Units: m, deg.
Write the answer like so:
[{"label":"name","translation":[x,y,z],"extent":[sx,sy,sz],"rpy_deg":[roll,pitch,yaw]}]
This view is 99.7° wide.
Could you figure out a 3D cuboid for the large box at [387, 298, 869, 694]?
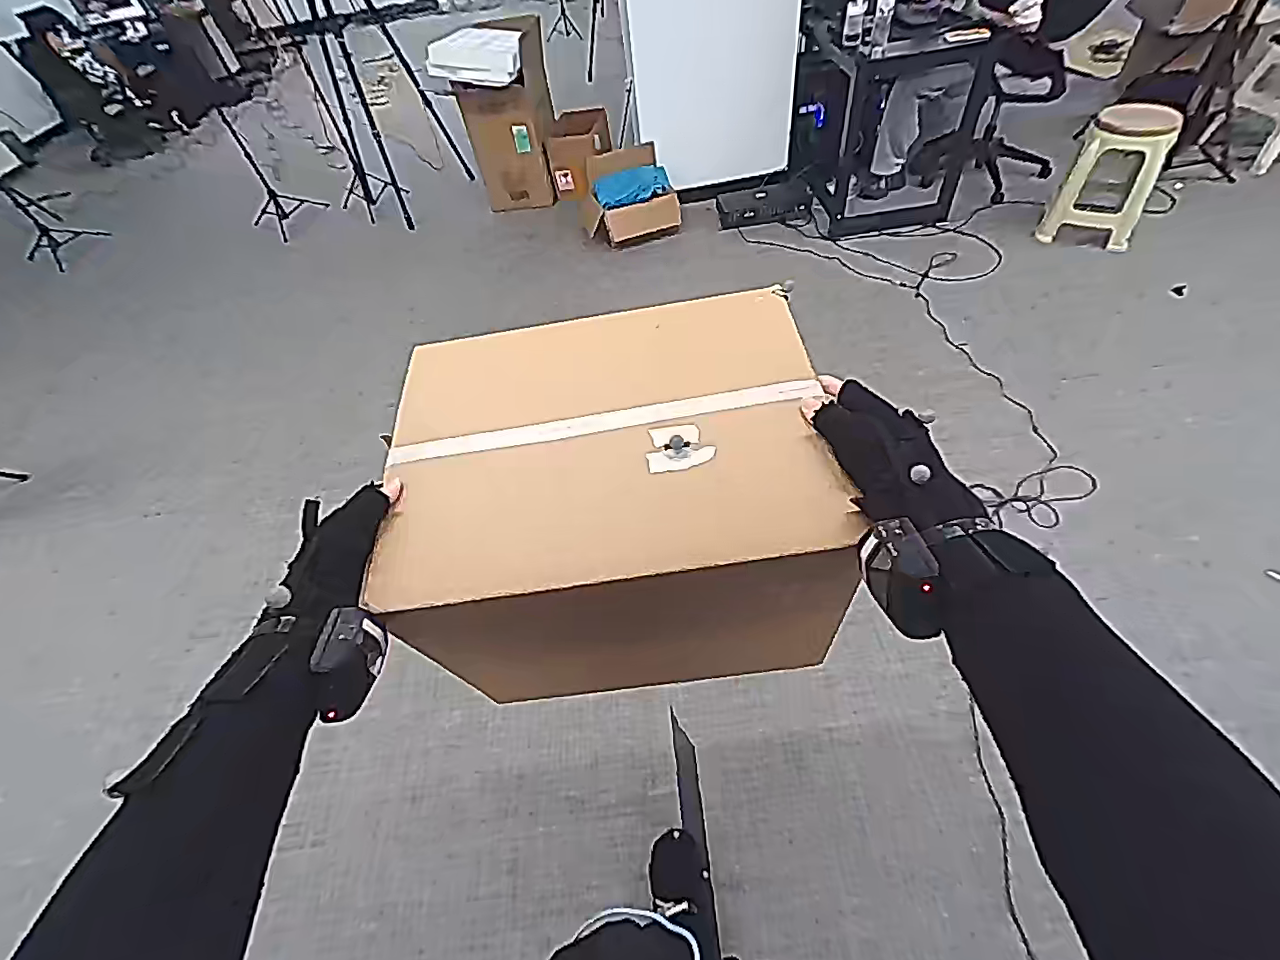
[{"label":"large box","translation":[-0.011,0.034,0.639],"extent":[0.408,0.320,0.320],"rpy_deg":[-8,55,2]}]
